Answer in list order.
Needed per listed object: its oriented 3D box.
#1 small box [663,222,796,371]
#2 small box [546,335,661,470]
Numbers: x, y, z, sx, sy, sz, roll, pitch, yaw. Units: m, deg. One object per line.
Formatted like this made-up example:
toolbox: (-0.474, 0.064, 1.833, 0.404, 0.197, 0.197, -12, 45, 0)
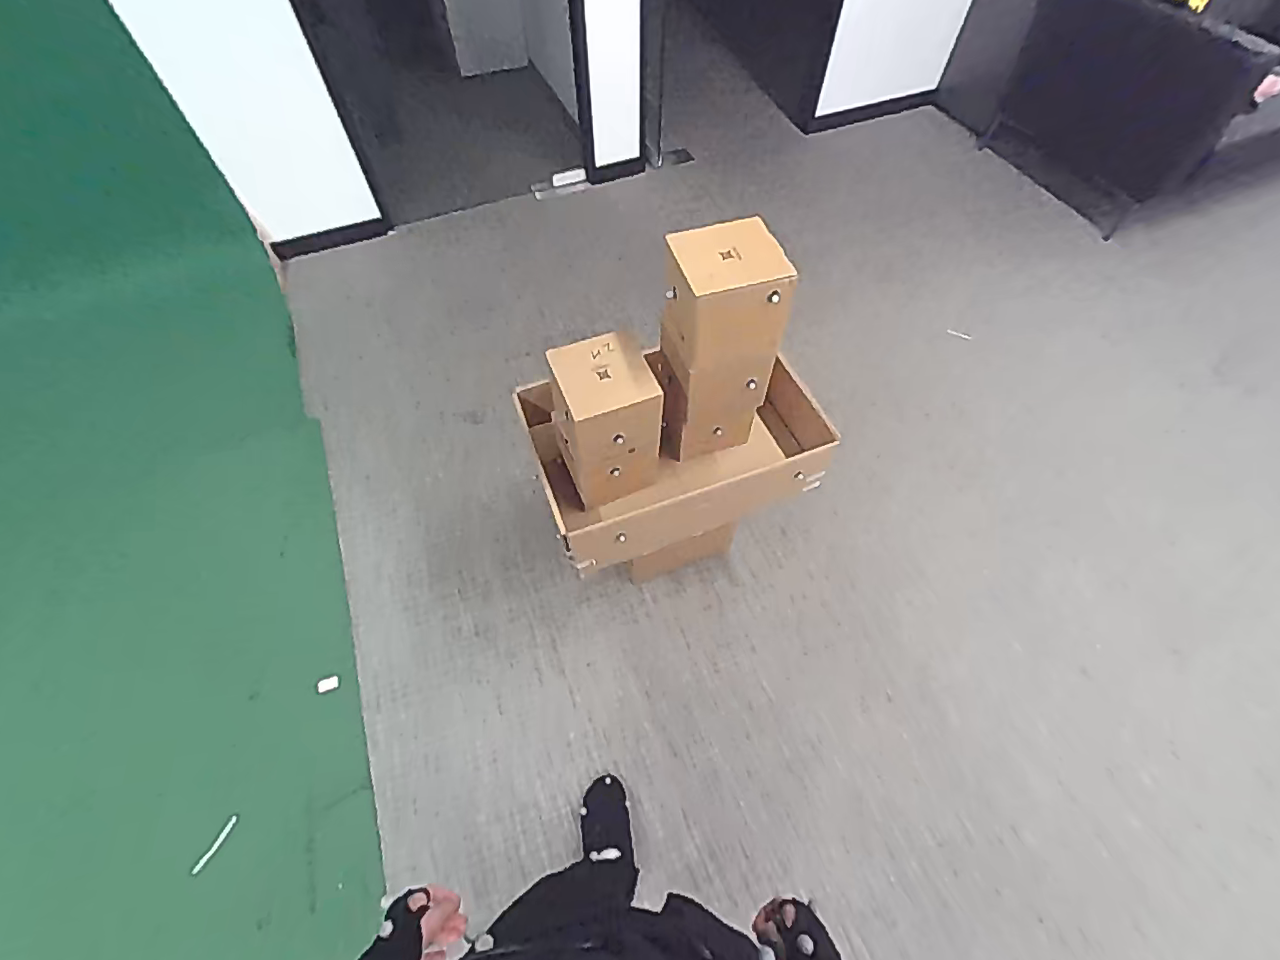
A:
small box: (0.147, -0.316, 0.949, 0.179, 0.176, 0.168, -15, 59, -7)
small box: (-0.066, -0.138, 1.028, 0.168, 0.176, 0.179, -19, 61, -12)
